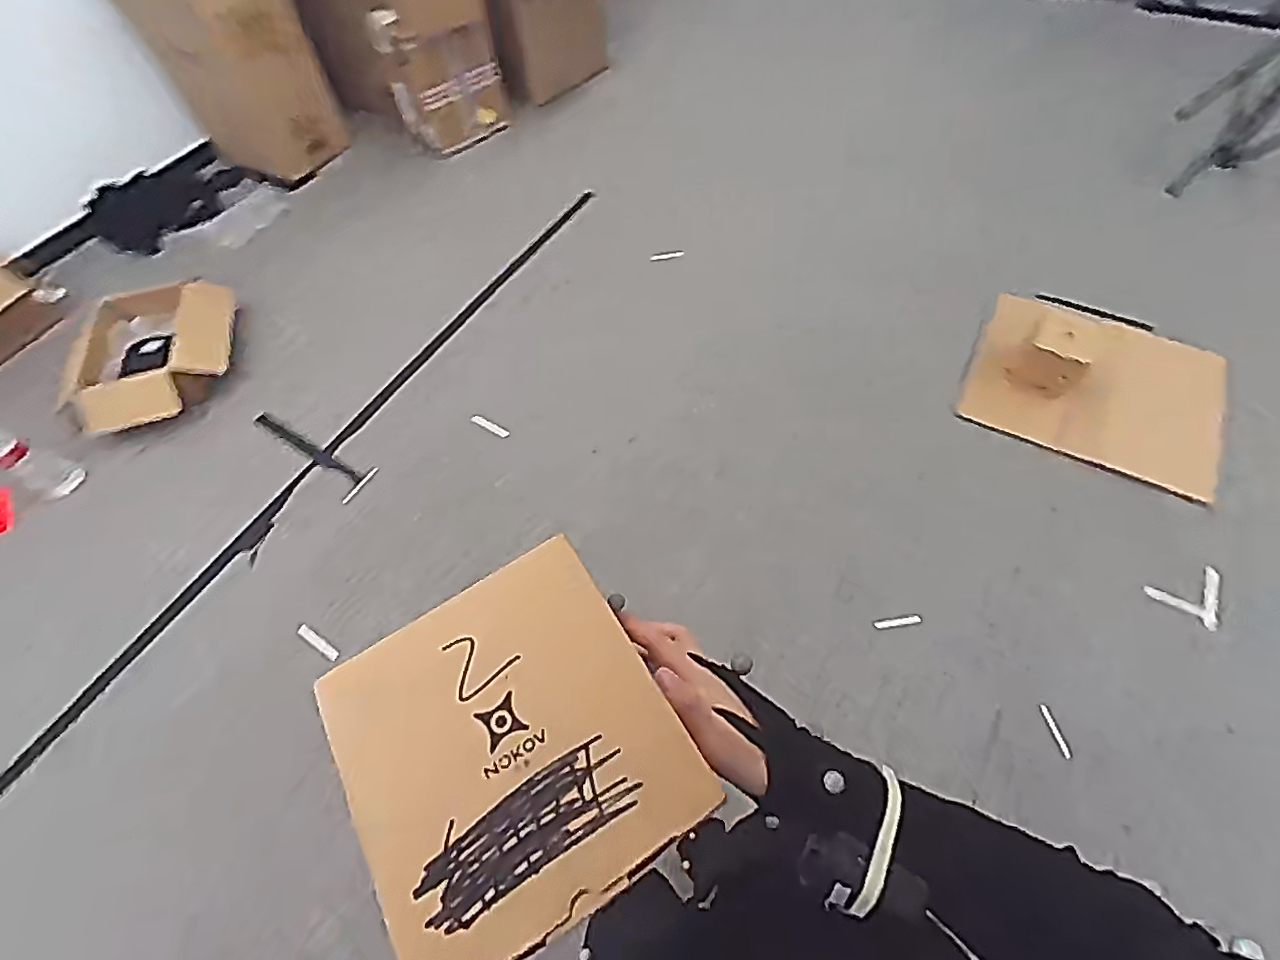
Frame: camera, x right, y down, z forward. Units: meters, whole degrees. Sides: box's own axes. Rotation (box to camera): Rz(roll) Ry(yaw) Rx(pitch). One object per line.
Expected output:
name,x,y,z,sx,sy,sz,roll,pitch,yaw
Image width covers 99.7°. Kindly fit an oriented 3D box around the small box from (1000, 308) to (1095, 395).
small box,1.270,-0.397,1.695,0.168,0.176,0.179,26,65,16
